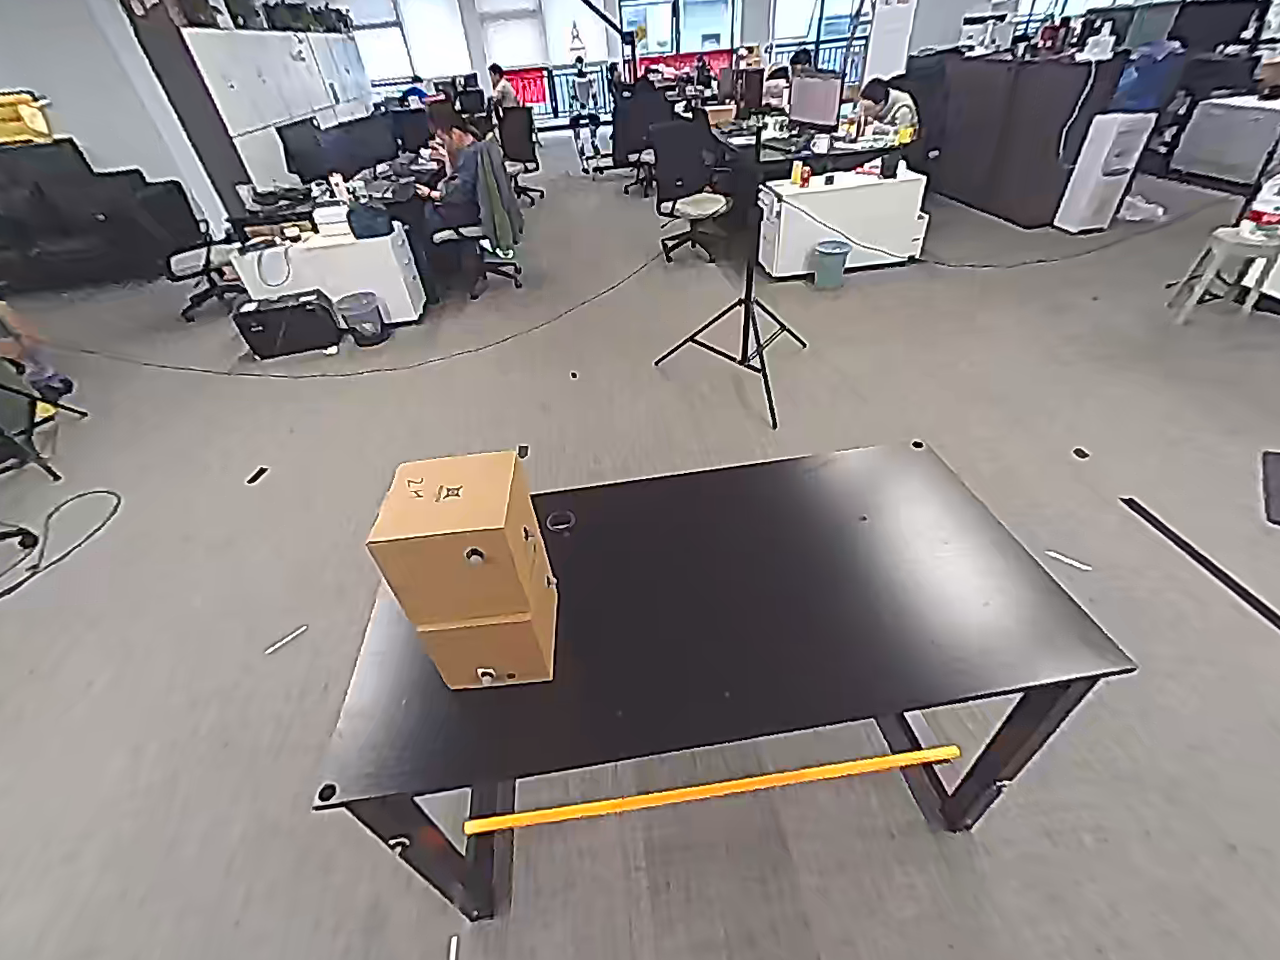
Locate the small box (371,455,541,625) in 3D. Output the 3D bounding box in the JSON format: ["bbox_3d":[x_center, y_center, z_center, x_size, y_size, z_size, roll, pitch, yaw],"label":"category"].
[{"bbox_3d":[-0.245,0.087,0.776,0.179,0.176,0.168,-7,39,0],"label":"small box"}]

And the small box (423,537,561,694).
[{"bbox_3d":[-0.226,0.218,0.875,0.168,0.176,0.179,-7,40,0],"label":"small box"}]
